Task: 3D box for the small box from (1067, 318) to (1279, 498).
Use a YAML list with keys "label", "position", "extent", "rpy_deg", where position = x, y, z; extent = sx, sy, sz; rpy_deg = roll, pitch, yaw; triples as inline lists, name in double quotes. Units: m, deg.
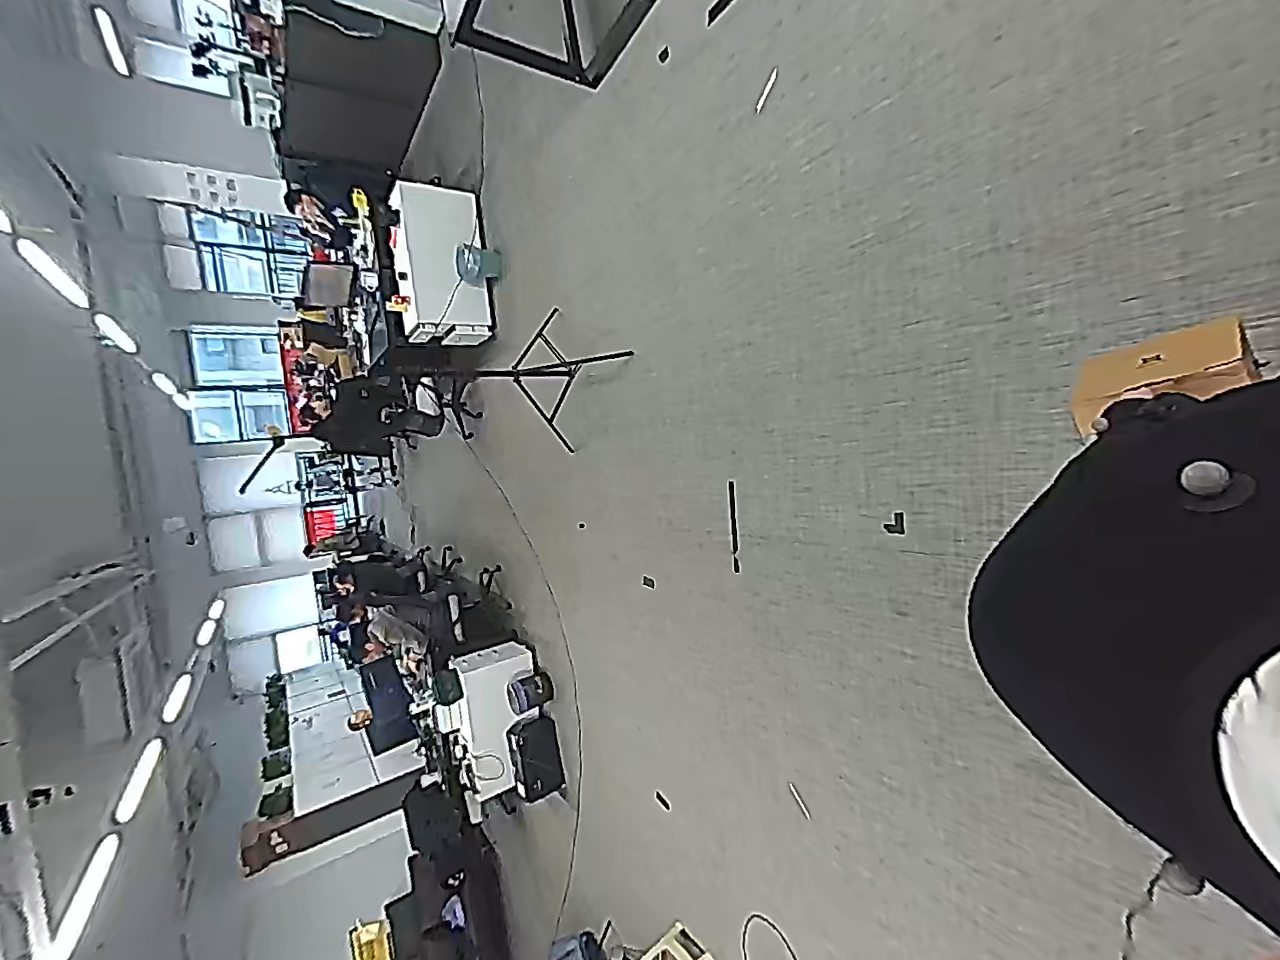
- label: "small box"
  position: [0.723, -0.086, 0.734]
  extent: [0.168, 0.179, 0.176]
  rpy_deg: [-19, 104, 52]
